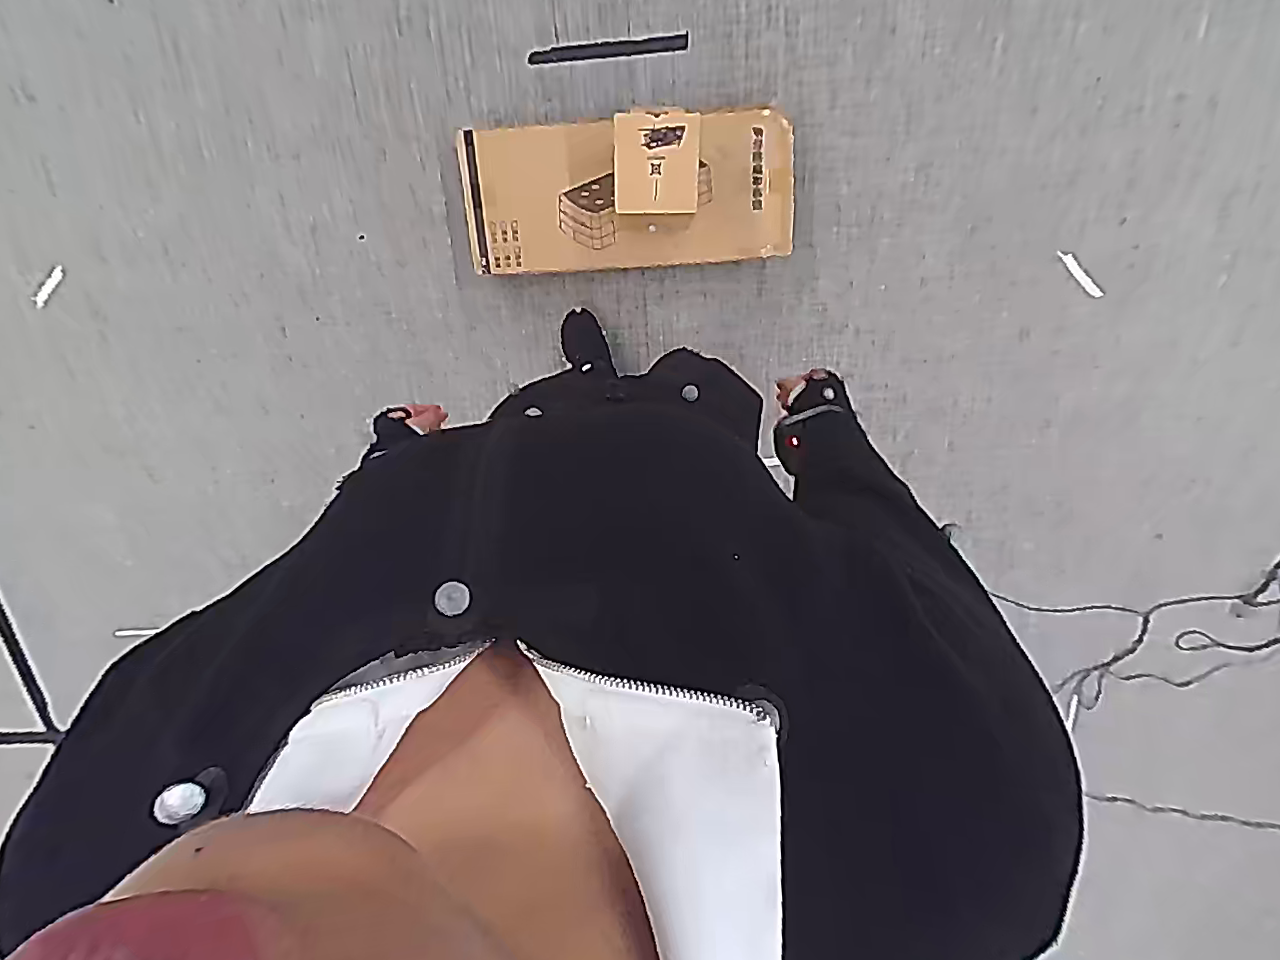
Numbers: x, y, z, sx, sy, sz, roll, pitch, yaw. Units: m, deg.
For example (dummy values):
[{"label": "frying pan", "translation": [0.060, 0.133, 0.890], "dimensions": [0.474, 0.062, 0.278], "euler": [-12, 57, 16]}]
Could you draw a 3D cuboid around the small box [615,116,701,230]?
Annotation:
[{"label": "small box", "translation": [0.034, -0.632, 1.131], "dimensions": [0.168, 0.176, 0.179], "euler": [1, 107, 1]}]
